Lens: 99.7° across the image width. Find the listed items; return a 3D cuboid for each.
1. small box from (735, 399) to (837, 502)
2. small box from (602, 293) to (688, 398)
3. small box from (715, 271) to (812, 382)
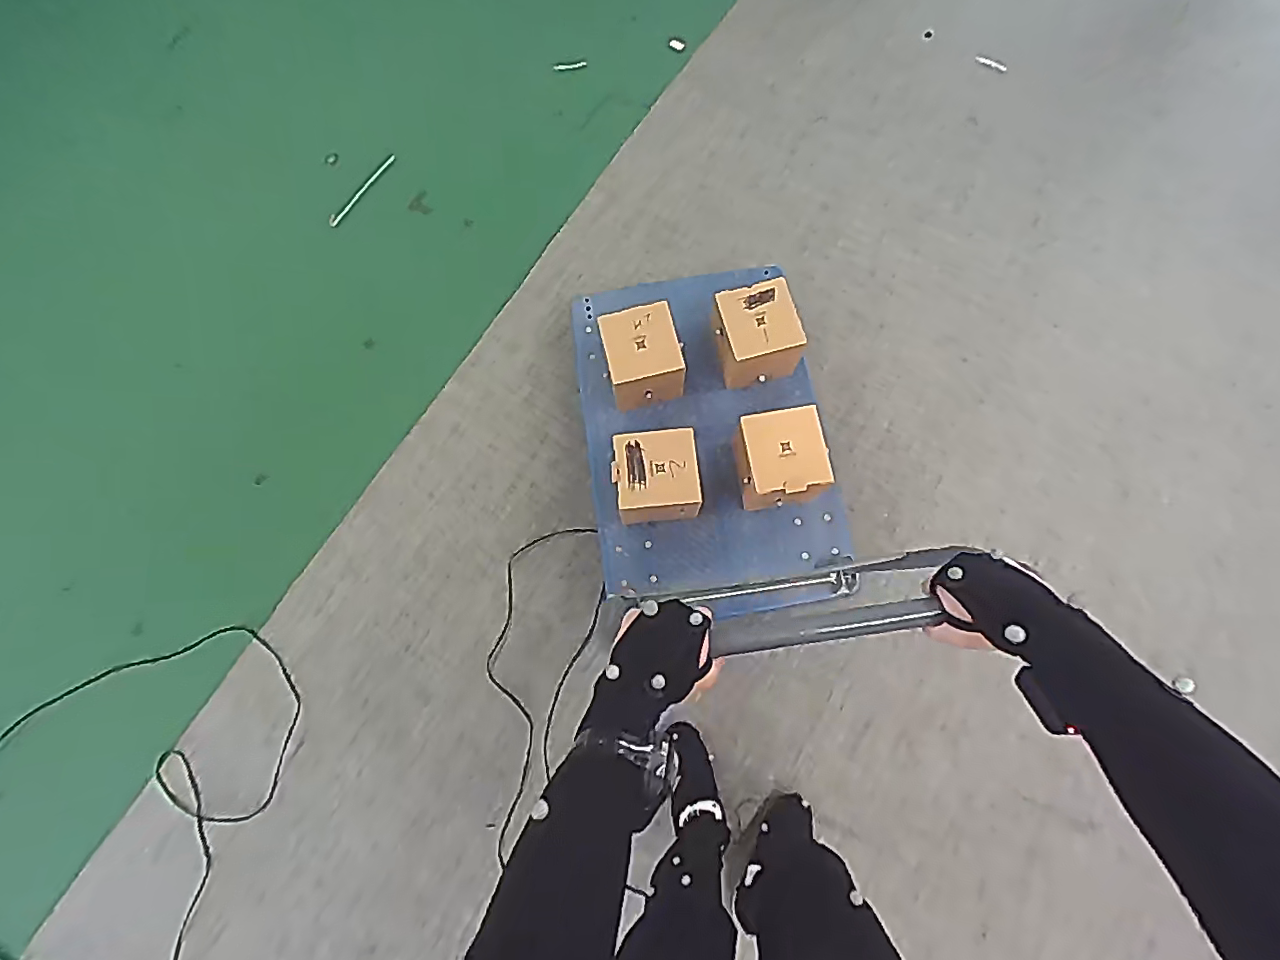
[{"bbox_3d":[0.316,-0.061,1.208,0.168,0.176,0.179,-9,77,0],"label":"small box"},{"bbox_3d":[0.013,-0.306,1.278,0.168,0.176,0.179,-13,76,-2],"label":"small box"},{"bbox_3d":[0.282,-0.358,1.280,0.168,0.176,0.179,-14,77,0],"label":"small box"}]
